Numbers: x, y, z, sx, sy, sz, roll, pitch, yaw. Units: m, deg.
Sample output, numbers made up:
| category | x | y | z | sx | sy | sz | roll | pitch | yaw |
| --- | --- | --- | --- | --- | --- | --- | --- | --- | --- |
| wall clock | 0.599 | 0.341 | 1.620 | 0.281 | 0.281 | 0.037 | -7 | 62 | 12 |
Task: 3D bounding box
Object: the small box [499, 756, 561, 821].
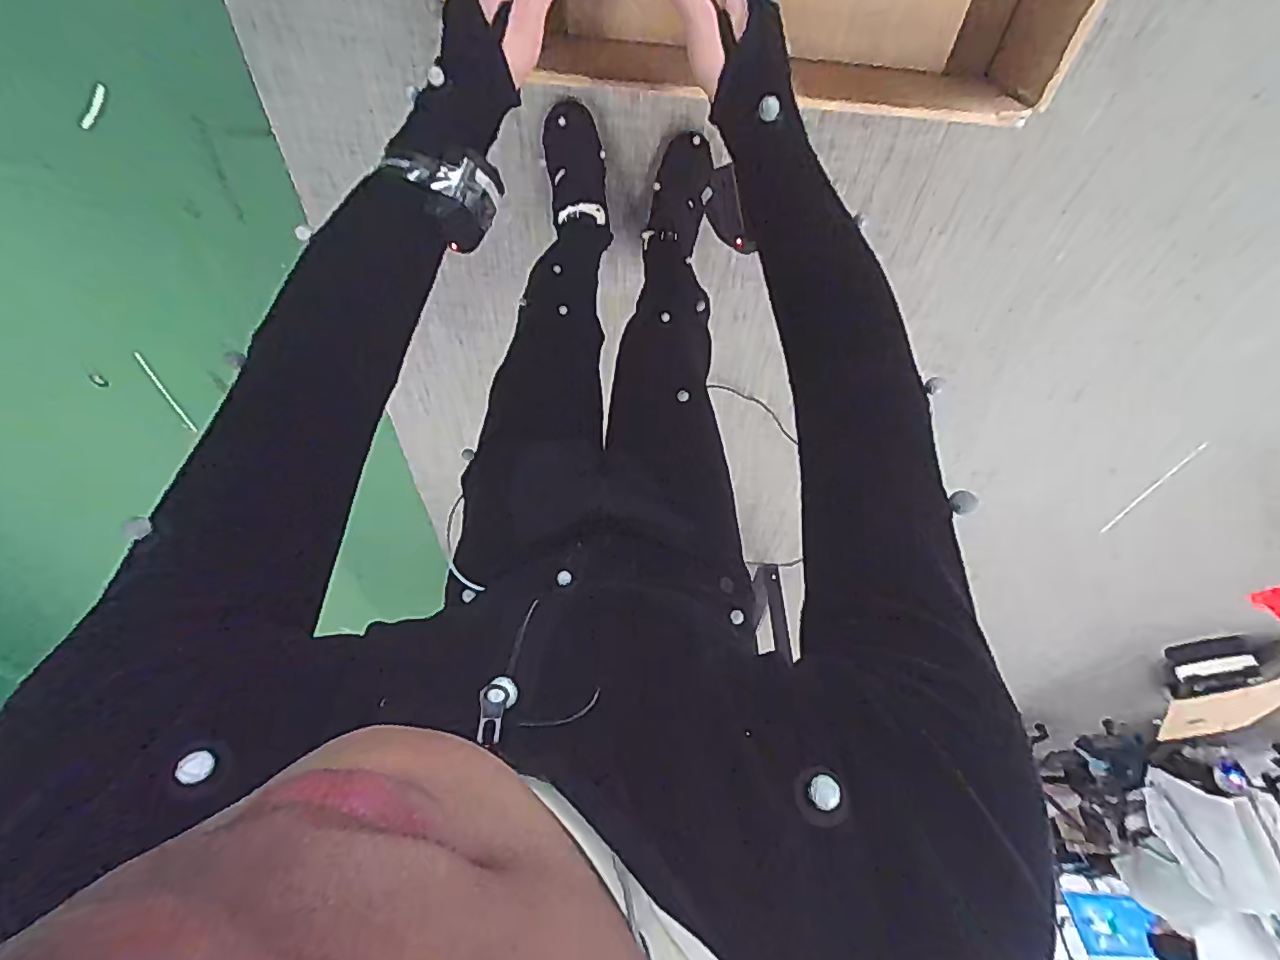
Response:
| category | x | y | z | sx | sy | sz | roll | pitch | yaw |
| --- | --- | --- | --- | --- | --- | --- | --- | --- | --- |
| small box | -0.376 | 1.067 | 1.874 | 0.179 | 0.176 | 0.168 | 3 | 139 | -1 |
